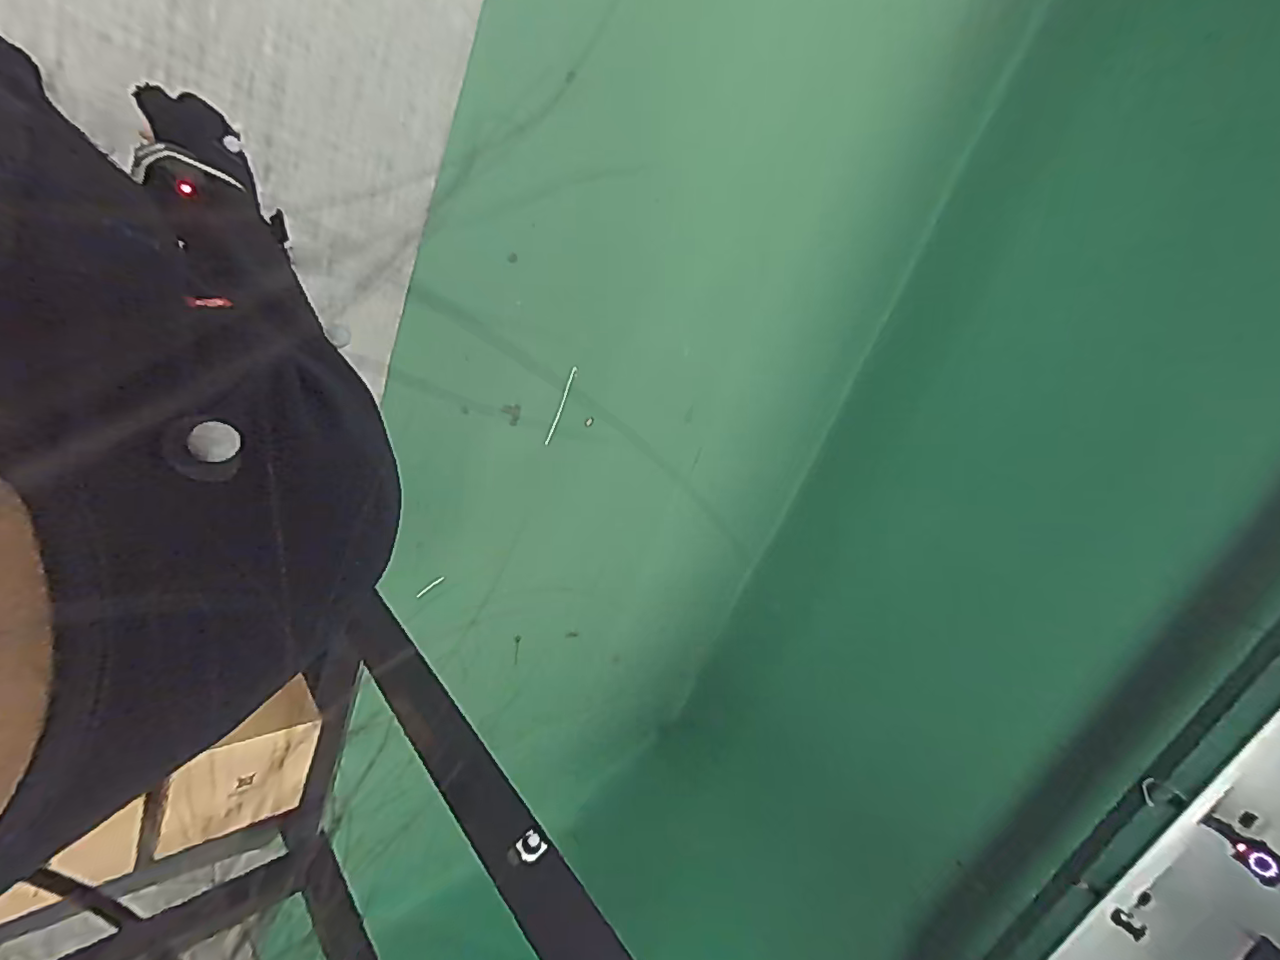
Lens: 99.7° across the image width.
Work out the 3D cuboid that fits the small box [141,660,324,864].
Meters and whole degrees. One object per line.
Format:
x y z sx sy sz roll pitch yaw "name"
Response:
-0.585 0.379 0.771 0.168 0.176 0.179 5 114 -50 "small box"
